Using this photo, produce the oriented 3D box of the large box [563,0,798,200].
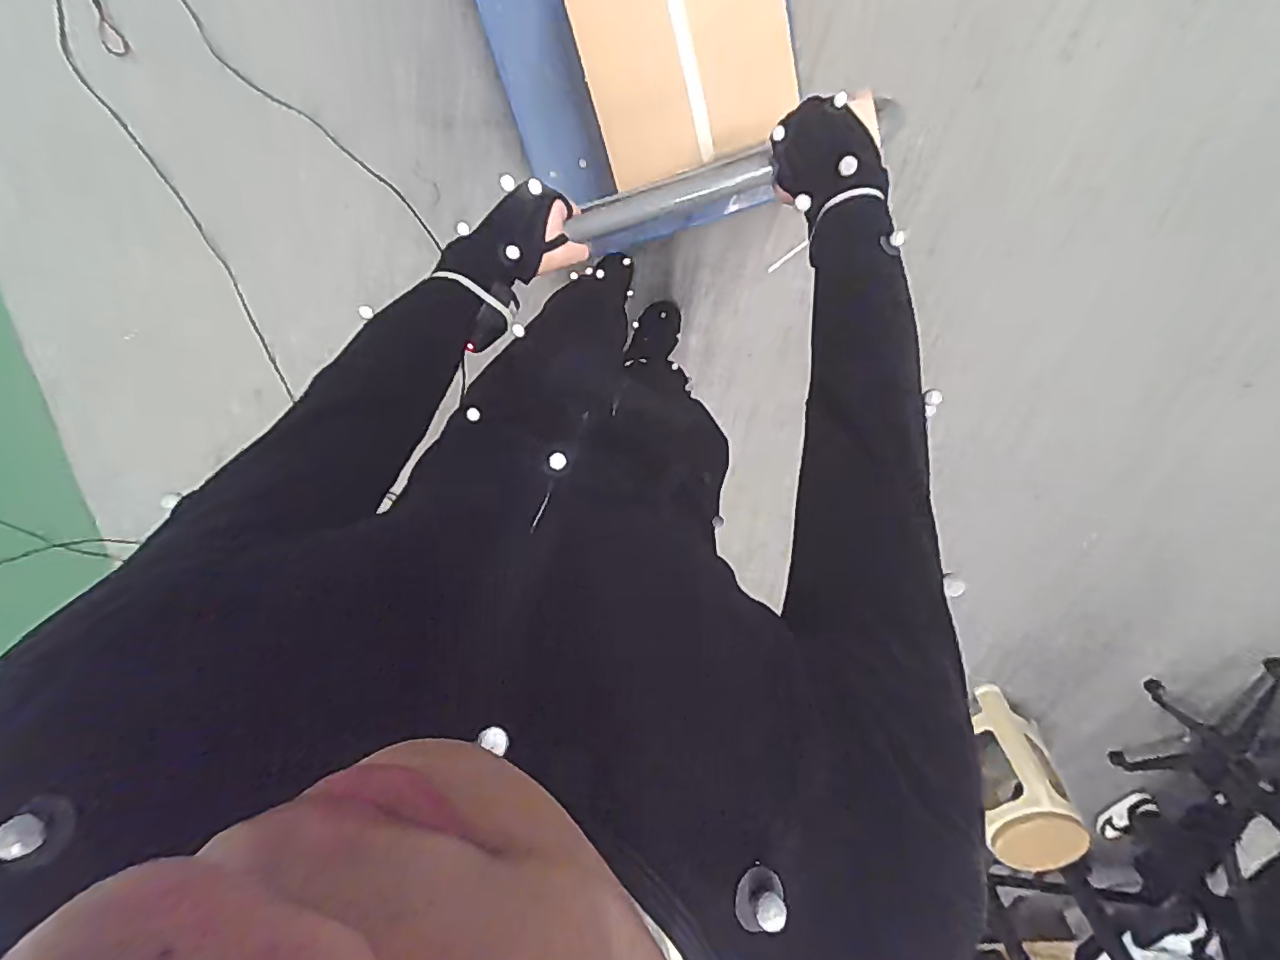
[{"bbox_3d":[0.066,-0.765,0.964,0.320,0.320,0.408,-14,115,10],"label":"large box"}]
